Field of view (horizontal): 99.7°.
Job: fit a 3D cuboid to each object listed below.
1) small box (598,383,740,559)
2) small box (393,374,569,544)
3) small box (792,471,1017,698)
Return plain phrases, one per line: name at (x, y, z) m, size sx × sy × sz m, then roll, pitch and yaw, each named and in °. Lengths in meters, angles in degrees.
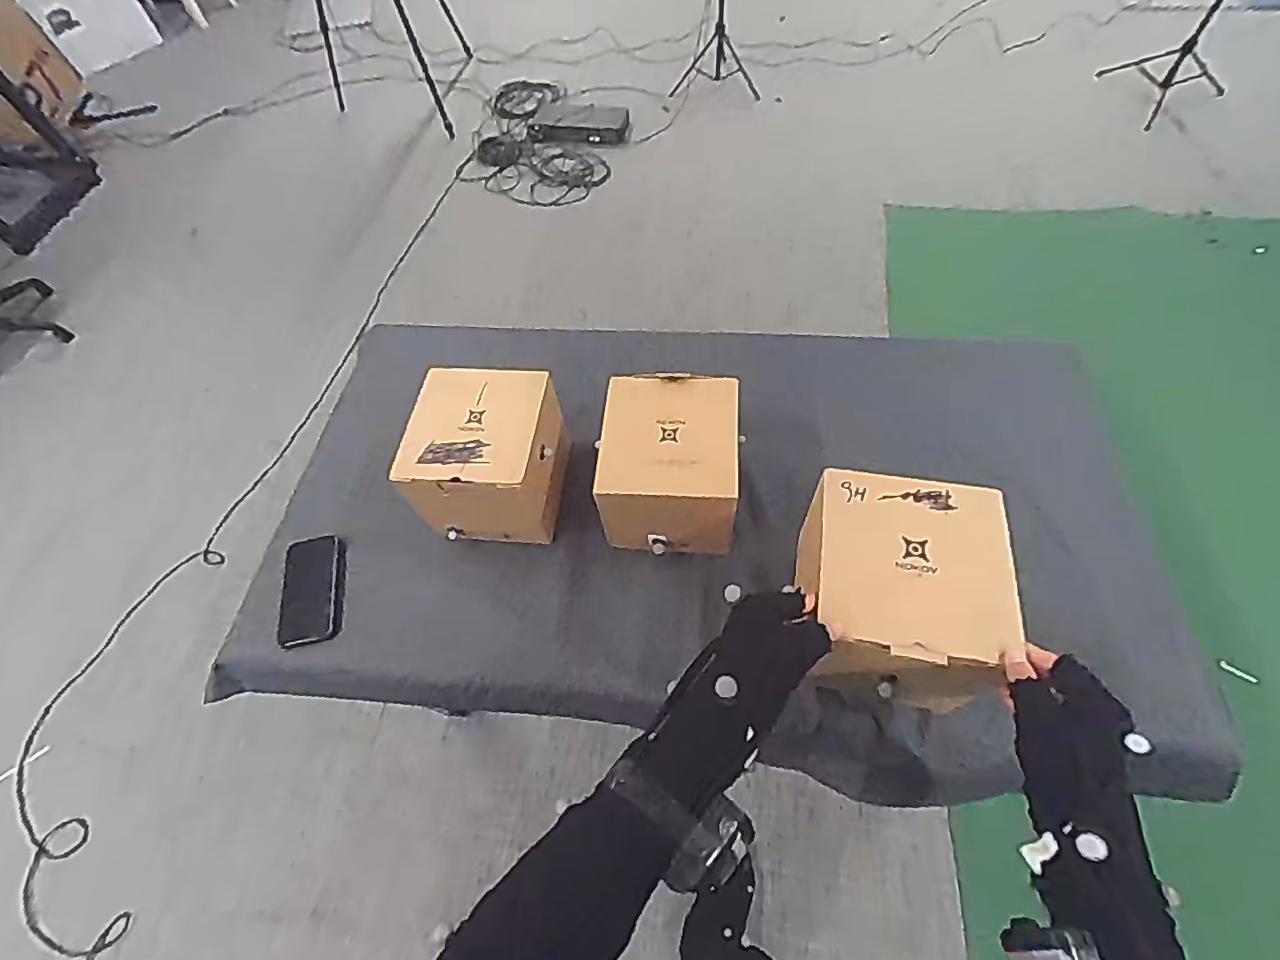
small box at (0.043, -0.009, 0.724) m, size 0.168 × 0.176 × 0.179 m, roll 1°, pitch 61°, yaw 6°
small box at (-0.201, -0.024, 0.745) m, size 0.168 × 0.176 × 0.179 m, roll 3°, pitch 59°, yaw 5°
small box at (0.259, 0.115, 0.570) m, size 0.168 × 0.176 × 0.179 m, roll 8°, pitch 59°, yaw 10°
